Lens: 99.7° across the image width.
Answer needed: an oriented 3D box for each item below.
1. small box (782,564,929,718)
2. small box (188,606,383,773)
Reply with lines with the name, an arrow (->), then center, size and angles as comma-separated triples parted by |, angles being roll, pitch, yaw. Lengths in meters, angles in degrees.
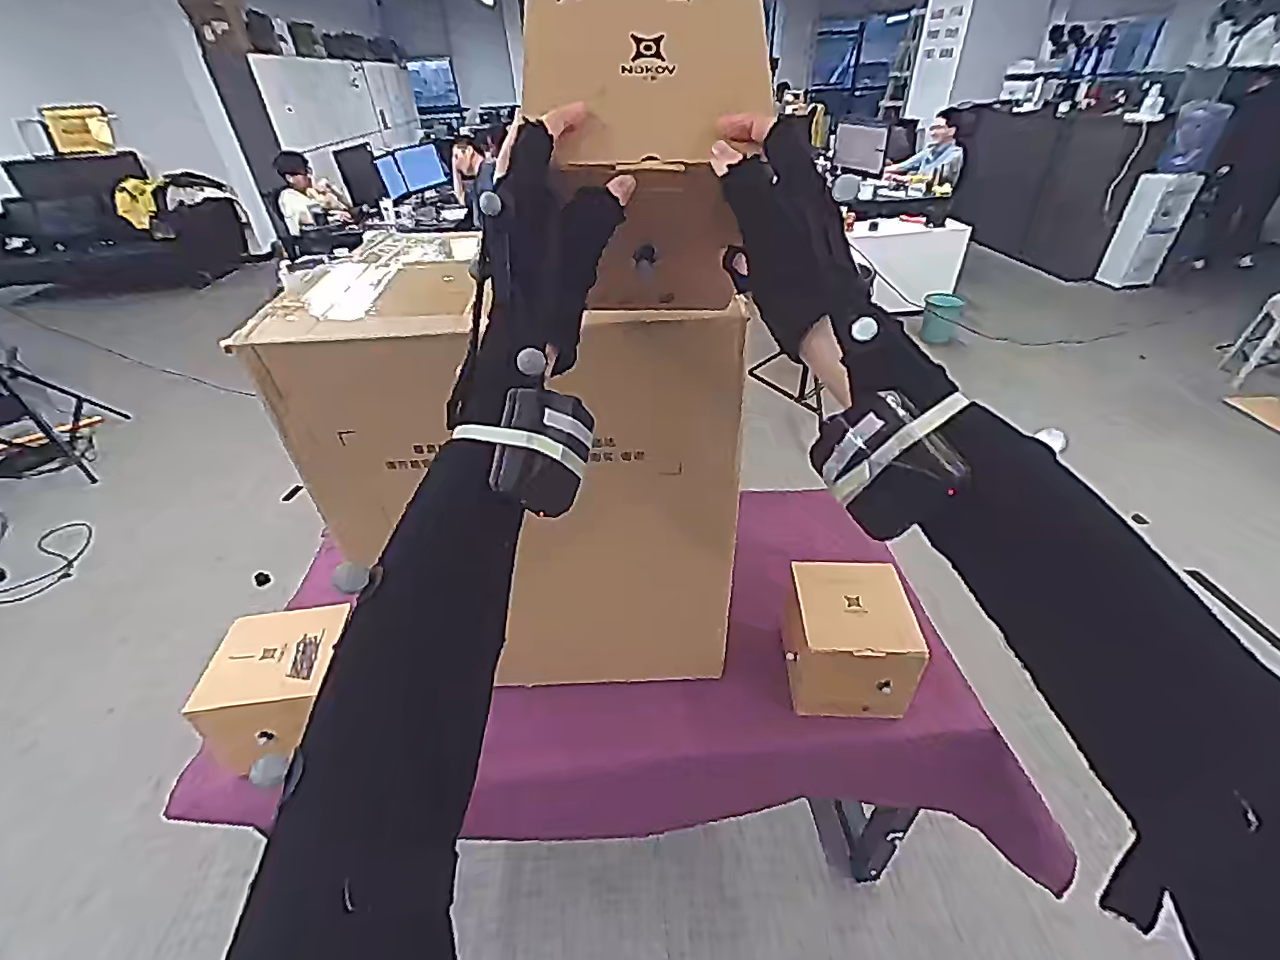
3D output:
small box -> 0.329, 0.256, 0.862 | 0.168, 0.176, 0.179 | 1, 35, 4
small box -> -0.518, 0.319, 0.828 | 0.179, 0.176, 0.168 | -6, 35, -6
